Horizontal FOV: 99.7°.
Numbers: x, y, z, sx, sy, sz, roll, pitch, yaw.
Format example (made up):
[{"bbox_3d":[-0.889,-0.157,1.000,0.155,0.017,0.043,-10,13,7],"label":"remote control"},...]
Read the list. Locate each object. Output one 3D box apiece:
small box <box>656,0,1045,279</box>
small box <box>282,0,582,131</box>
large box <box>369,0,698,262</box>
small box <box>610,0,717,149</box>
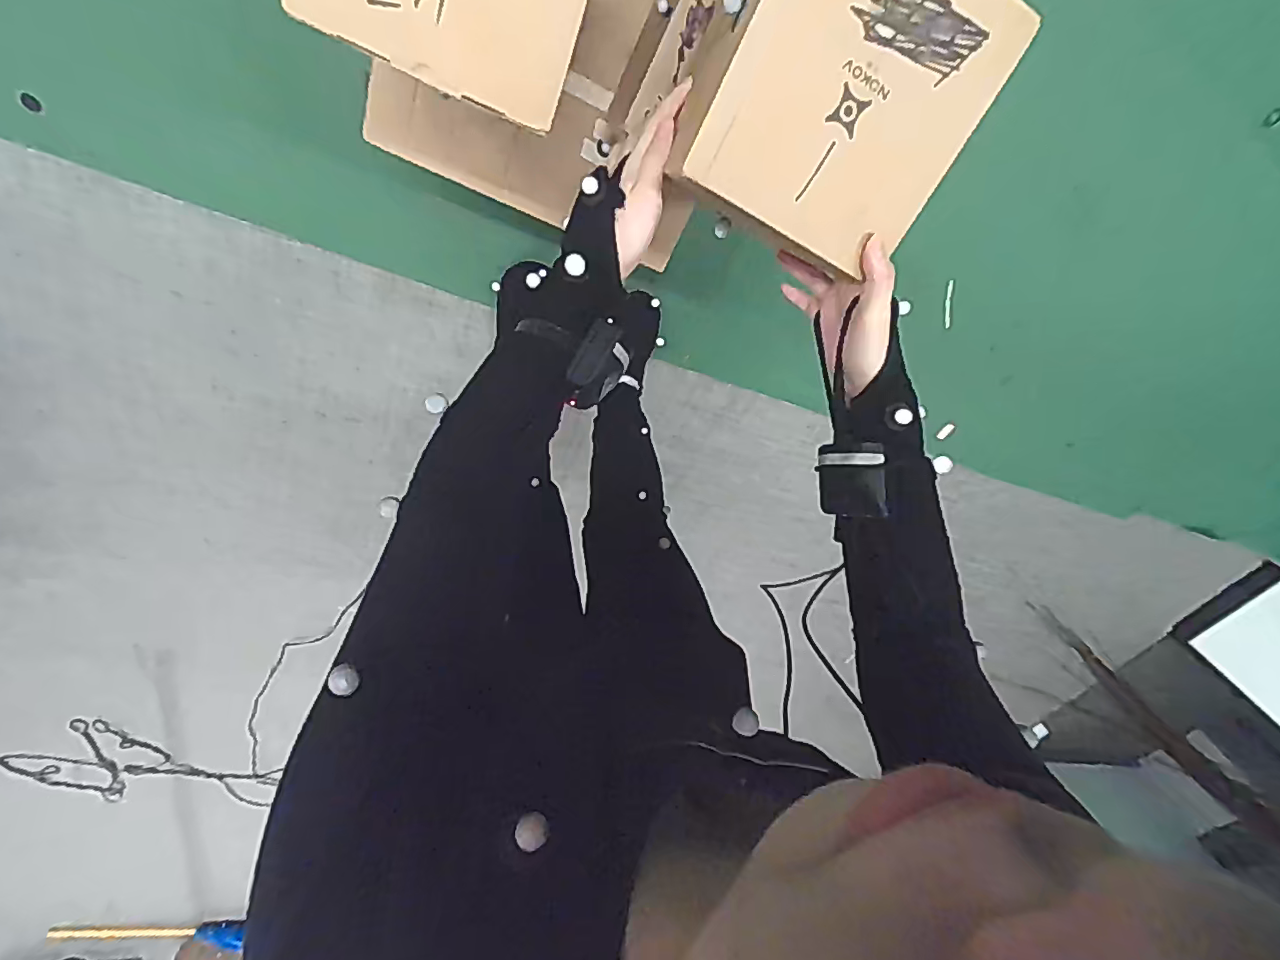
[{"bbox_3d":[0.124,-0.280,0.398,0.168,0.176,0.179,21,115,-18],"label":"small box"},{"bbox_3d":[-0.118,-0.370,0.357,0.168,0.176,0.179,15,123,-21],"label":"small box"},{"bbox_3d":[-0.103,-0.558,0.736,0.408,0.320,0.320,15,124,-22],"label":"large box"},{"bbox_3d":[0.085,-0.415,0.568,0.179,0.176,0.168,20,121,-23],"label":"small box"}]
